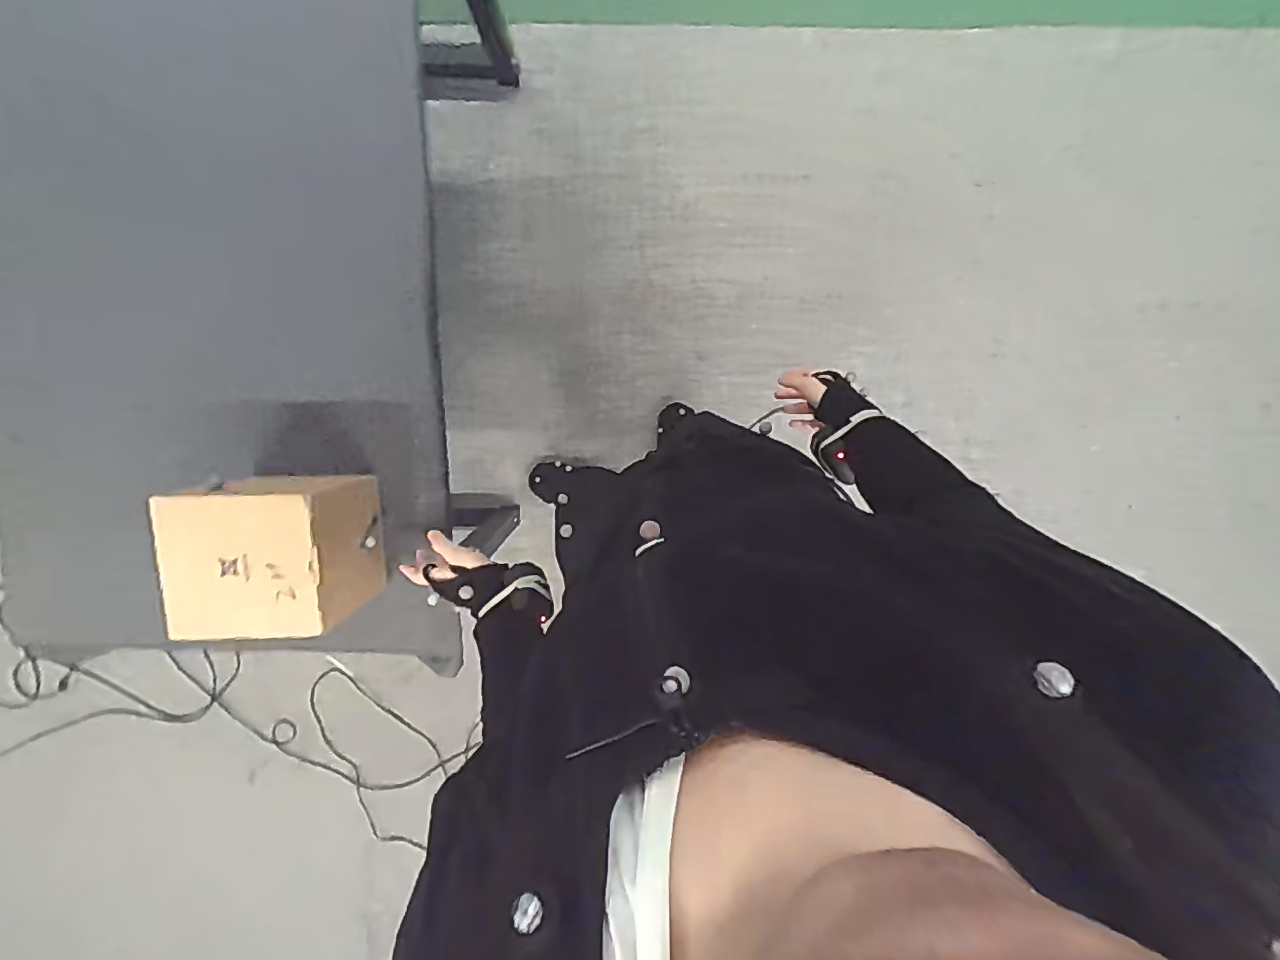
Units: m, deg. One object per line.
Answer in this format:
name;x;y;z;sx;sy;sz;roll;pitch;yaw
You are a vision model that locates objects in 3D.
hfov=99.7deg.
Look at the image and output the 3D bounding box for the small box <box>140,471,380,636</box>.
small box;-0.453;0.082;0.673;0.179;0.176;0.168;-1;99;-1
